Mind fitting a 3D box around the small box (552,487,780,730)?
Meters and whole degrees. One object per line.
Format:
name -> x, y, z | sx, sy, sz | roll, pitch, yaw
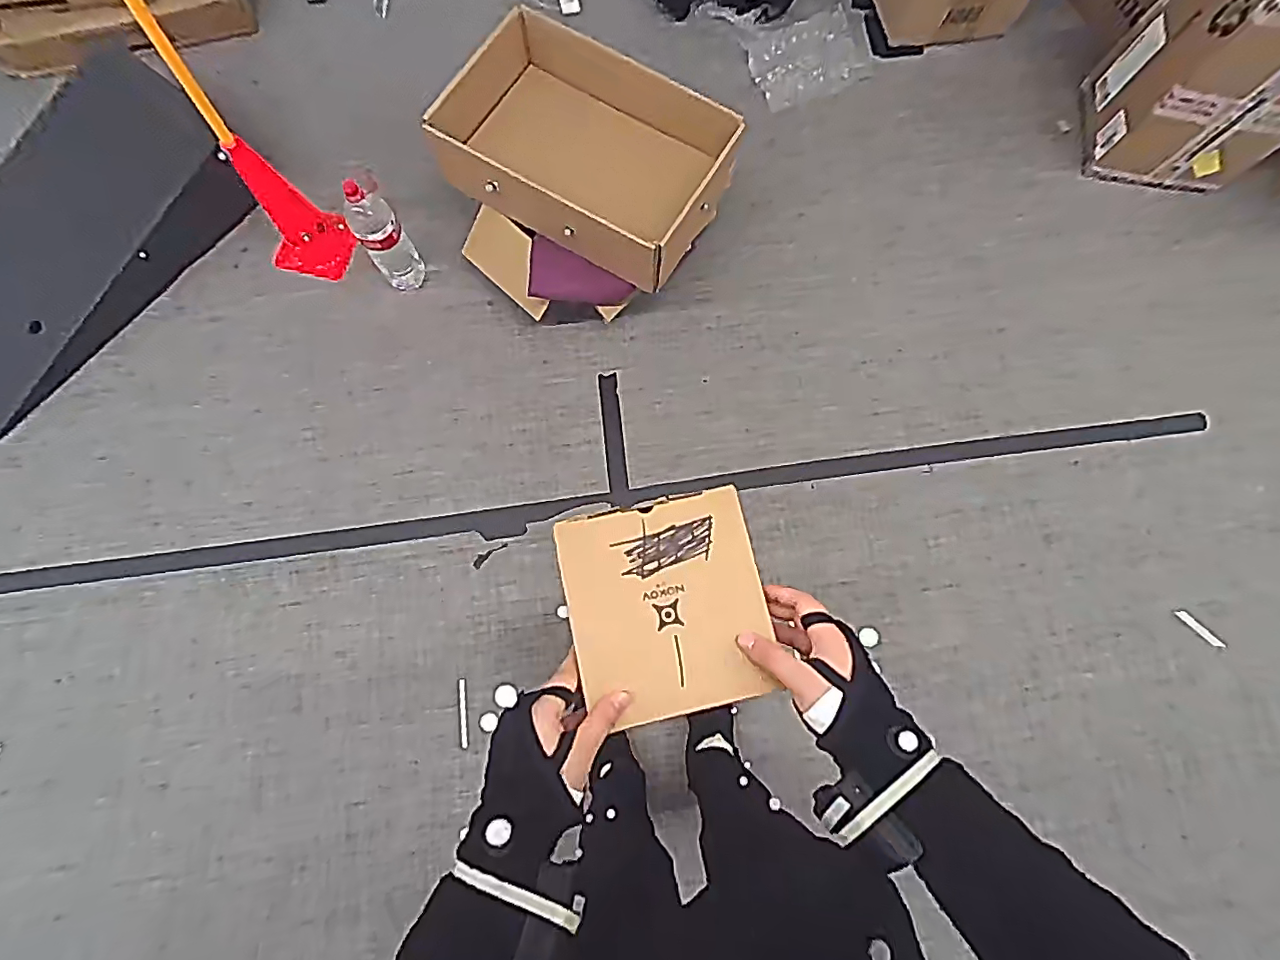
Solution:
small box -> 0.015, 0.121, 0.534 | 0.168, 0.176, 0.179 | -12, 78, -5
